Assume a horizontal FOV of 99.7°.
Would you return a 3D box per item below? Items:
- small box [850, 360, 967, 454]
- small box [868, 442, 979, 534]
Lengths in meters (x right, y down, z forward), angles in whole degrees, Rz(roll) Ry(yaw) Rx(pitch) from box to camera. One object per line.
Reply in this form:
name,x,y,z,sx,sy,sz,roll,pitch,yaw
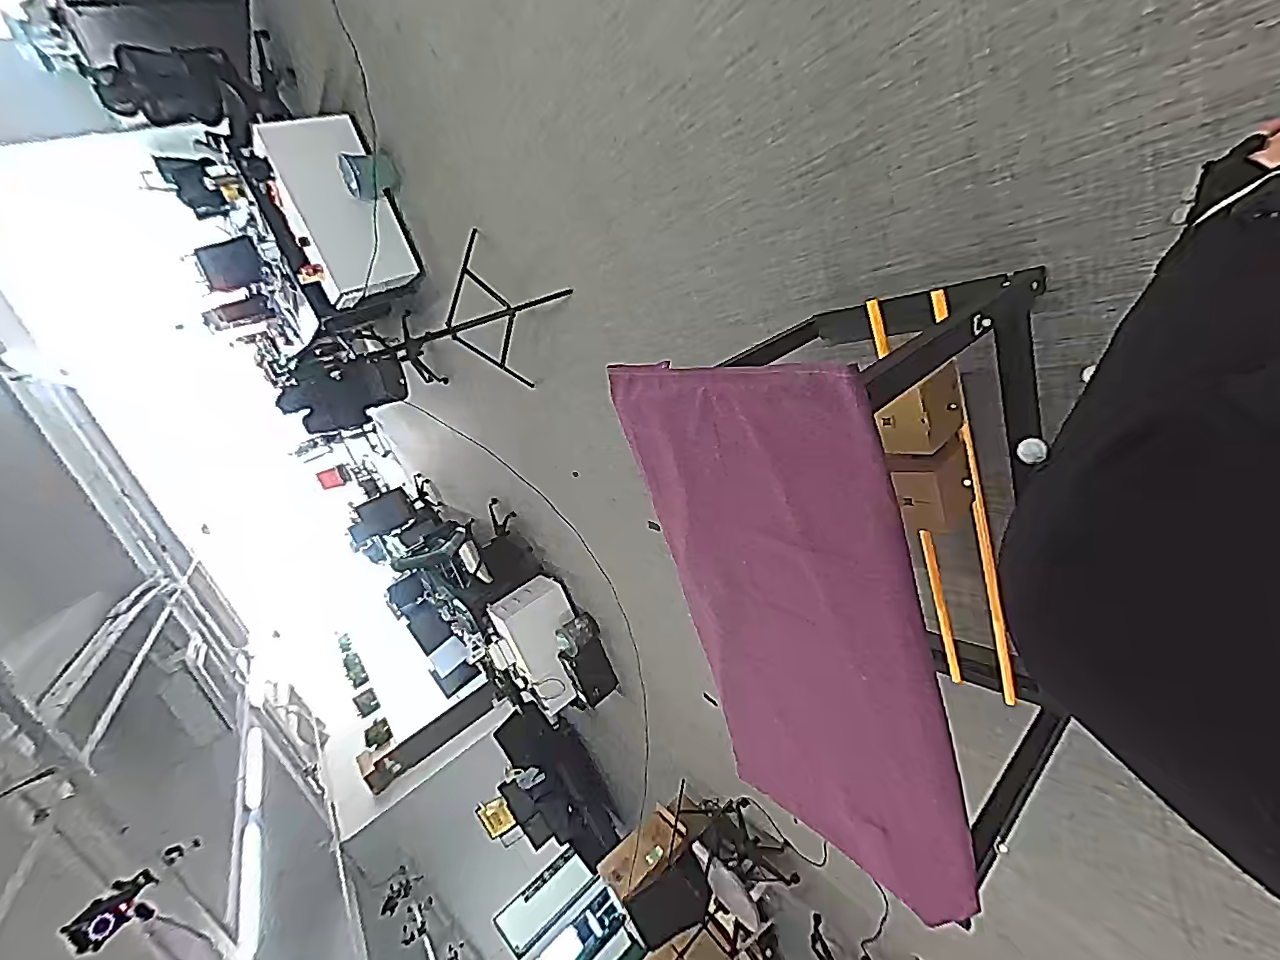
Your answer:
small box,0.634,-0.171,1.275,0.179,0.176,0.168,5,122,54
small box,0.704,0.012,1.342,0.179,0.176,0.168,4,121,53
